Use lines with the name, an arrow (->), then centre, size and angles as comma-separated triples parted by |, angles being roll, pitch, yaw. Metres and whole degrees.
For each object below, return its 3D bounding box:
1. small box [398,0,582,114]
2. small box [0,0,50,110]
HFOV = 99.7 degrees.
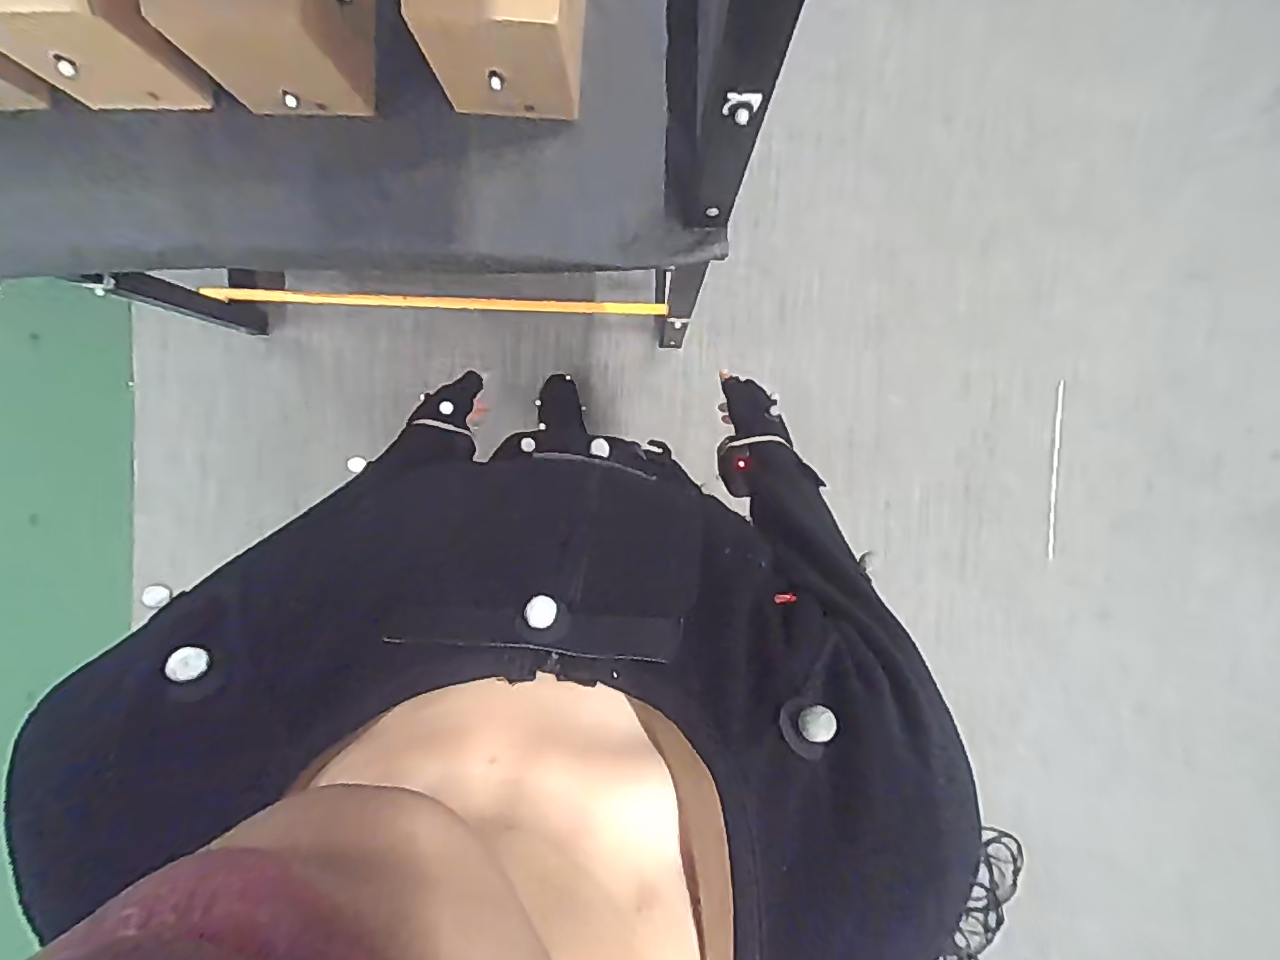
small box -> -0.163, -0.569, 0.635 | 0.168, 0.176, 0.179 | 5, 93, 0
small box -> -0.872, -0.582, 0.643 | 0.168, 0.176, 0.179 | -1, 93, 1
